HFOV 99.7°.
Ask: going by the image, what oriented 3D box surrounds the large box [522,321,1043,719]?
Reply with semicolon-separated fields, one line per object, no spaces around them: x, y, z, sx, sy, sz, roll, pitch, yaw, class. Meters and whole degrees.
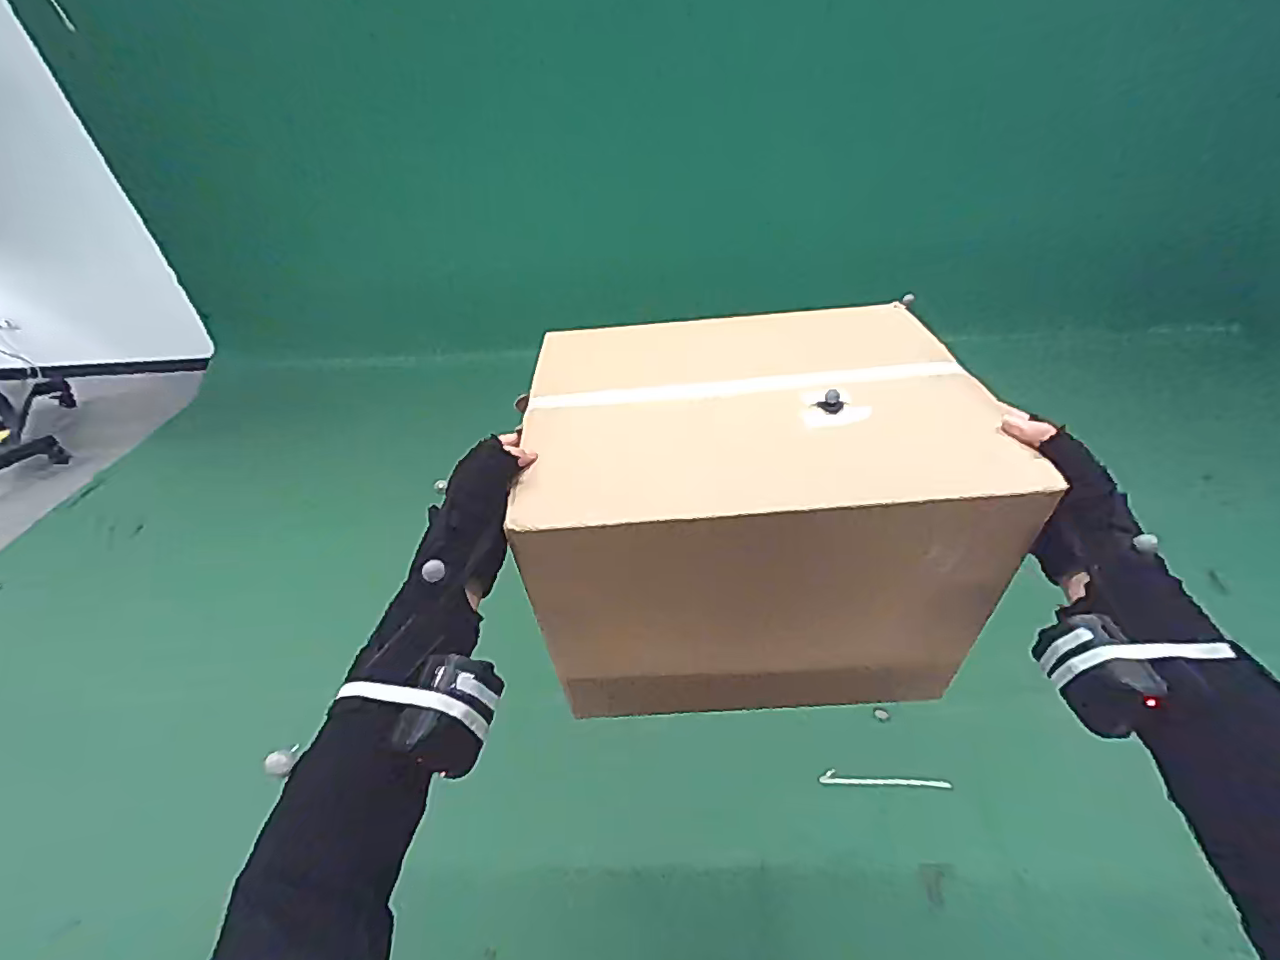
0.109;0.042;0.613;0.408;0.320;0.320;-4;42;1;large box
